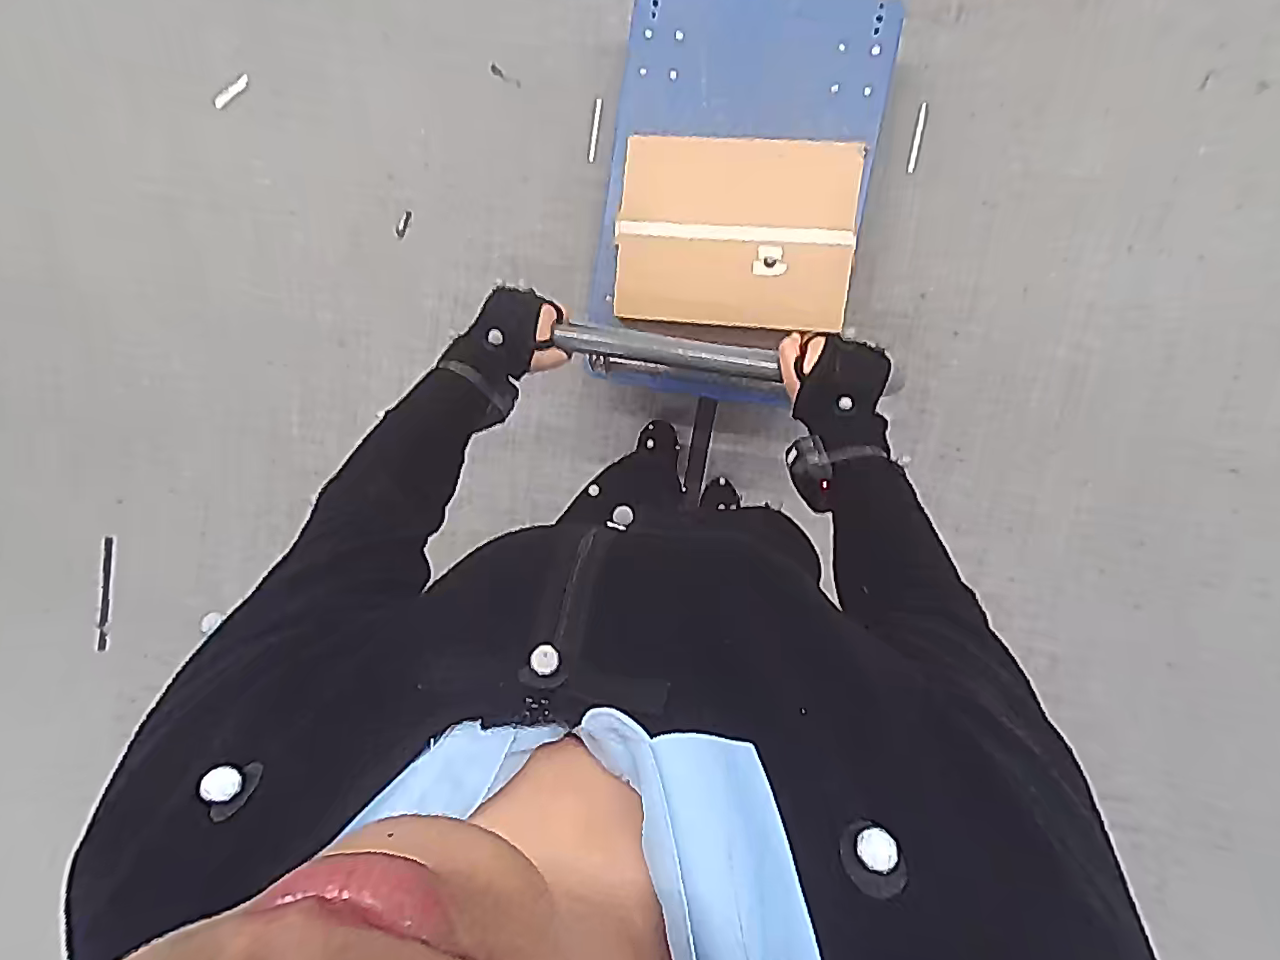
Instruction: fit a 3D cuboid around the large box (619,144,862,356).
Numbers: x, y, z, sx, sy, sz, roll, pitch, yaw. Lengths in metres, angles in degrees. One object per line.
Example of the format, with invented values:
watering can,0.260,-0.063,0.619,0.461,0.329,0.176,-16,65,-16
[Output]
large box,0.184,-0.438,1.096,0.408,0.320,0.320,6,97,6
